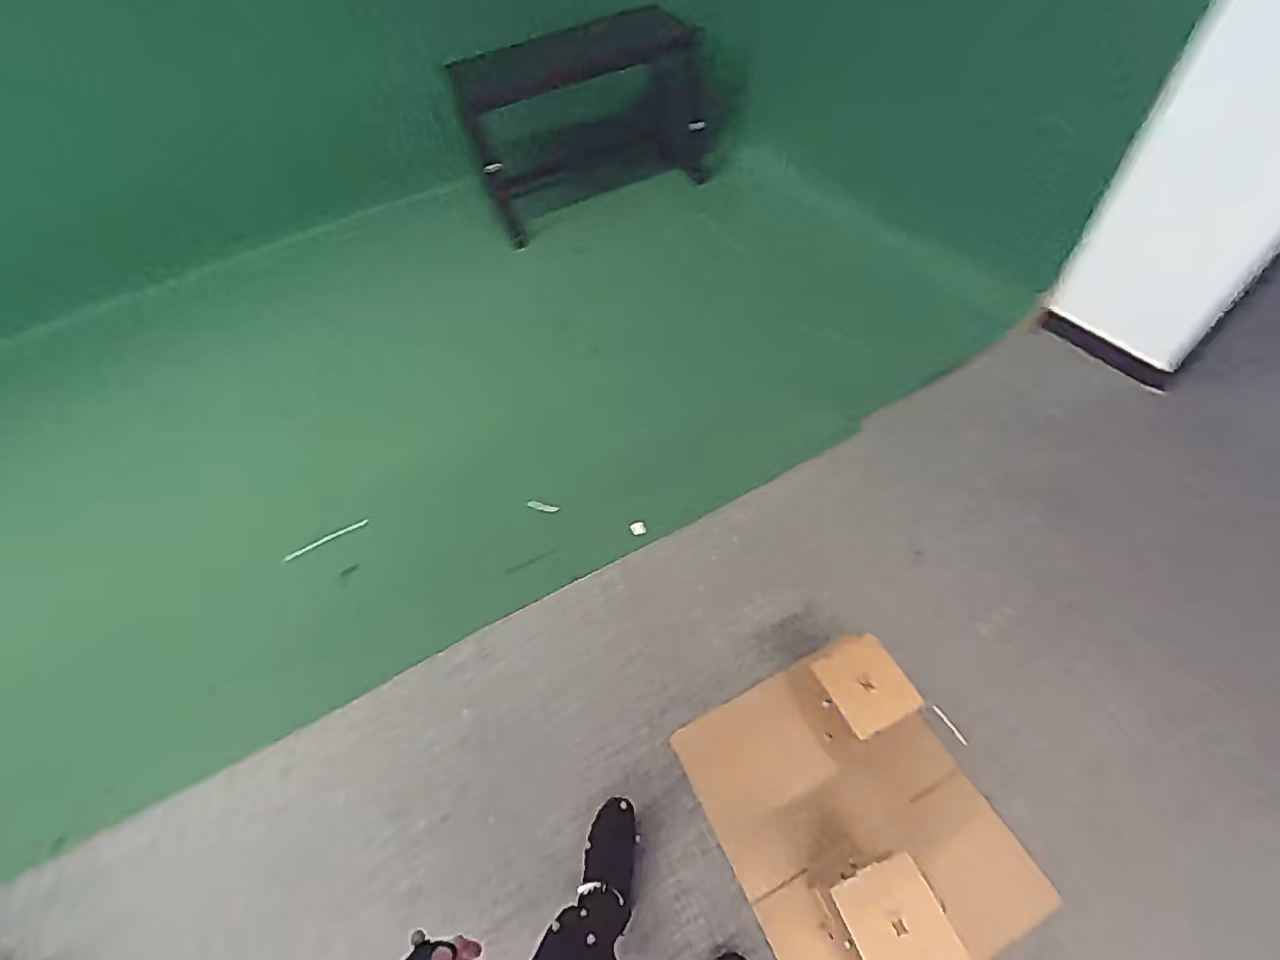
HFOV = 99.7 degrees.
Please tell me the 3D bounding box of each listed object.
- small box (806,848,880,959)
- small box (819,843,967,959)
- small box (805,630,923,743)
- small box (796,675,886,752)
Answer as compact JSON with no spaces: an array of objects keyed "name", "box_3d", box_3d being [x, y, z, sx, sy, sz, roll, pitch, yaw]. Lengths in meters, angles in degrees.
[{"name":"small box","box_3d":[0.472,0.907,1.139,0.168,0.176,0.179,-23,55,-8]},{"name":"small box","box_3d":[0.454,0.811,1.008,0.168,0.176,0.179,-21,54,-6]},{"name":"small box","box_3d":[0.499,0.477,1.234,0.168,0.176,0.179,-25,54,-8]},{"name":"small box","box_3d":[0.517,0.565,1.369,0.168,0.176,0.179,-24,55,-9]}]
